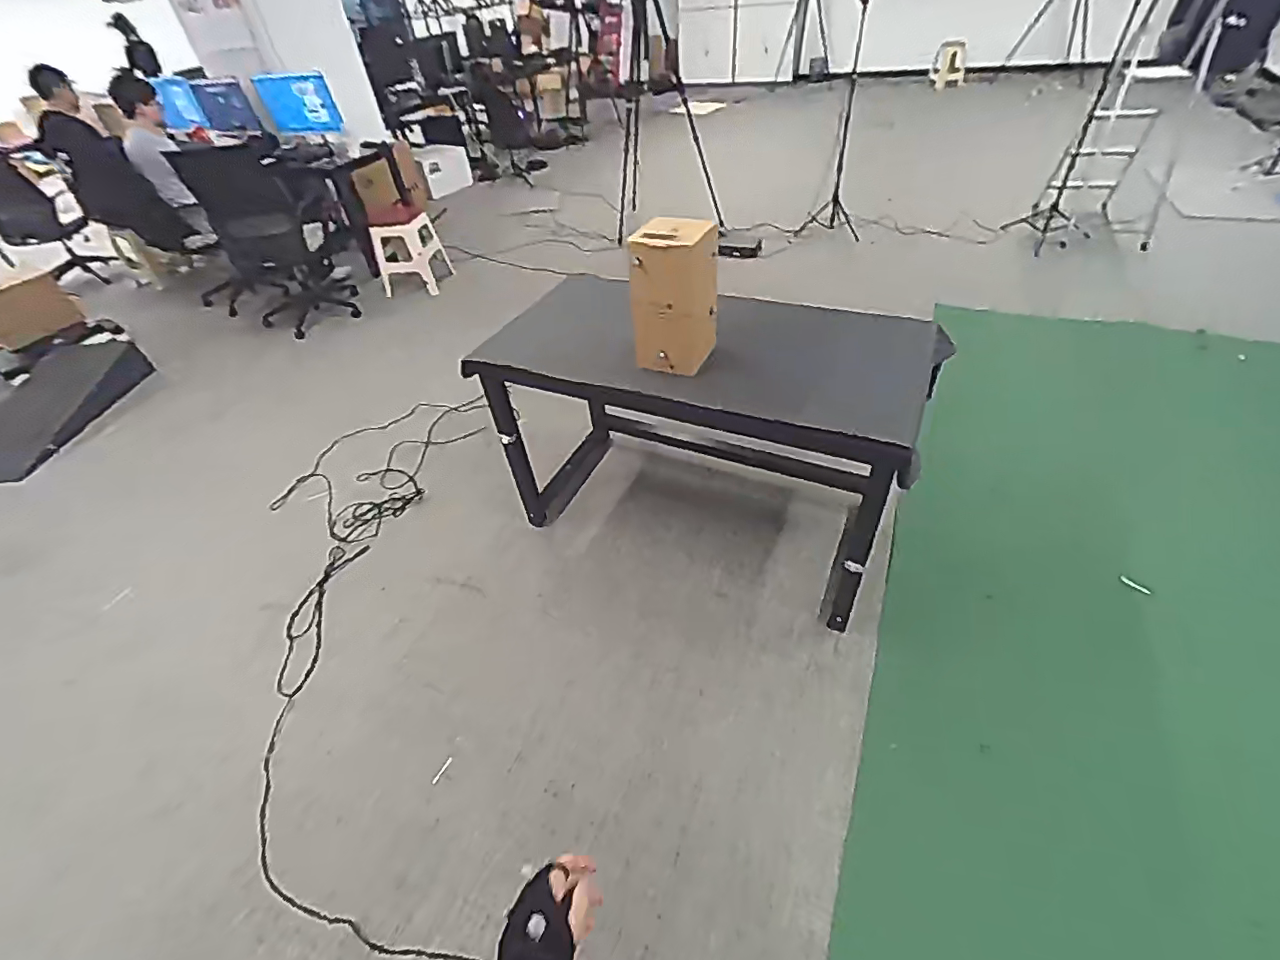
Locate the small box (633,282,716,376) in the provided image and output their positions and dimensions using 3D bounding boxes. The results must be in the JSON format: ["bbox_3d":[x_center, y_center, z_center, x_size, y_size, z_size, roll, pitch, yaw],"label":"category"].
[{"bbox_3d":[0.094,-0.402,1.432,0.168,0.176,0.179,15,47,21],"label":"small box"}]
